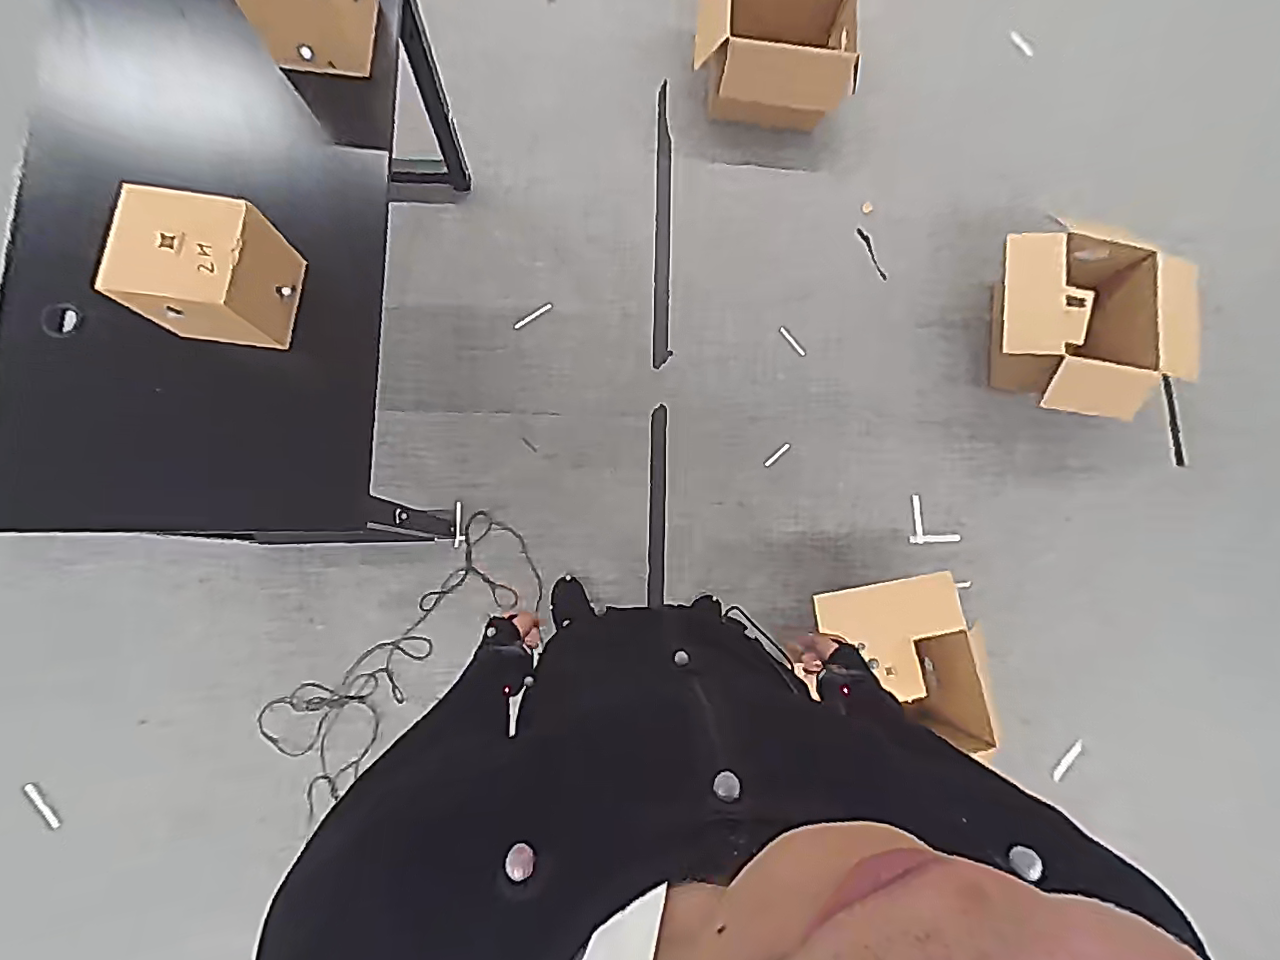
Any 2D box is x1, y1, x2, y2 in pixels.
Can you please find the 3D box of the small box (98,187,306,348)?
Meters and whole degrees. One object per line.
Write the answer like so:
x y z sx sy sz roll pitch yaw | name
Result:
-0.669 -0.321 0.849 0.179 0.176 0.168 6 82 -4 | small box

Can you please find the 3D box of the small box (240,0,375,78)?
-0.578 -0.850 0.934 0.168 0.176 0.179 2 83 -4 | small box
